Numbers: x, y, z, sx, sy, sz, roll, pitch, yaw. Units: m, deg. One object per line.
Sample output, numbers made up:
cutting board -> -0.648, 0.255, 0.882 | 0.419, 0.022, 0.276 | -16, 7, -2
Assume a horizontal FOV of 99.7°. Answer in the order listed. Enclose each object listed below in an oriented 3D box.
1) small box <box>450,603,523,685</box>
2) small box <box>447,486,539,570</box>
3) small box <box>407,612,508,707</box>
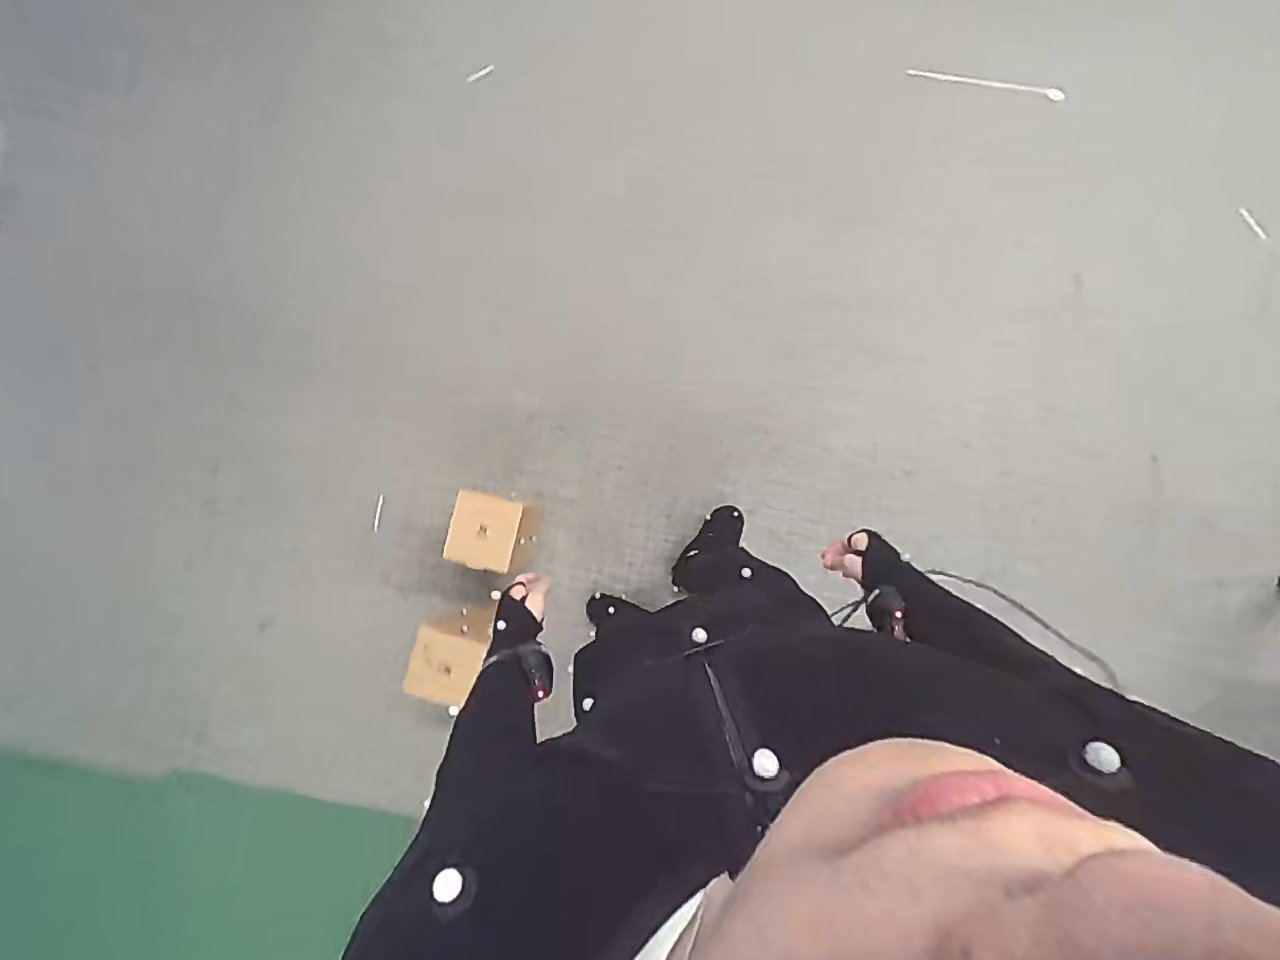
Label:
small box -> -0.452, 0.462, 1.551 | 0.179, 0.176, 0.168 | 14, 88, 4
small box -> -0.371, 0.120, 1.397 | 0.168, 0.176, 0.179 | 14, 88, 2
small box -> -0.458, 0.450, 1.386 | 0.179, 0.176, 0.168 | 16, 87, 3
